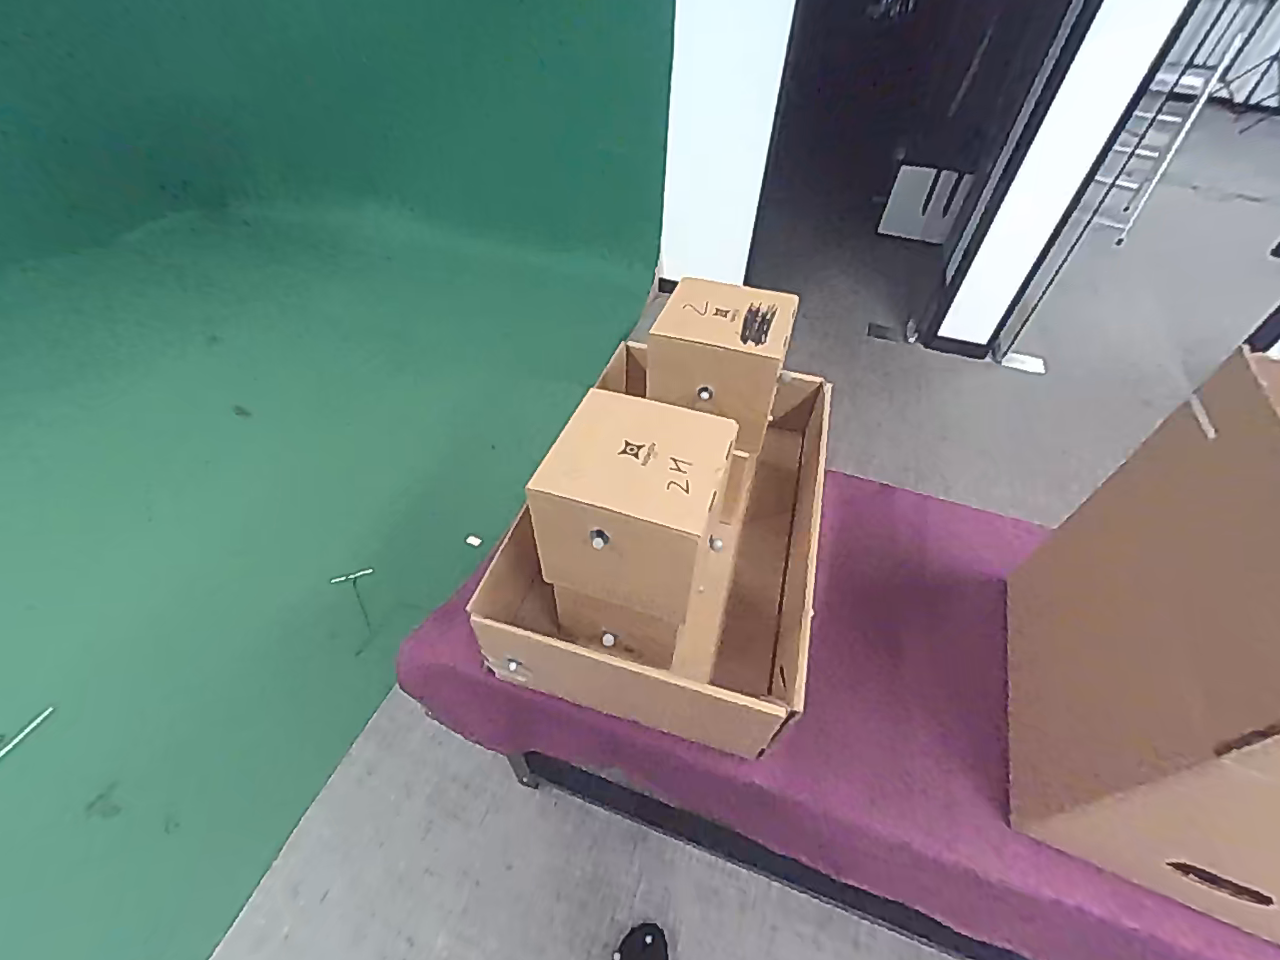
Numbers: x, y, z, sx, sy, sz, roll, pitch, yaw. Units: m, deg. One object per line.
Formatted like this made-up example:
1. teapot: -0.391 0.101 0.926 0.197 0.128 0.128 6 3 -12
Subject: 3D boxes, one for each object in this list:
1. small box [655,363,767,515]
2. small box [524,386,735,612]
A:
1. small box: 0.106 -0.067 0.916 0.168 0.176 0.179 15 50 13
2. small box: -0.006 0.024 0.608 0.179 0.176 0.168 15 50 12
